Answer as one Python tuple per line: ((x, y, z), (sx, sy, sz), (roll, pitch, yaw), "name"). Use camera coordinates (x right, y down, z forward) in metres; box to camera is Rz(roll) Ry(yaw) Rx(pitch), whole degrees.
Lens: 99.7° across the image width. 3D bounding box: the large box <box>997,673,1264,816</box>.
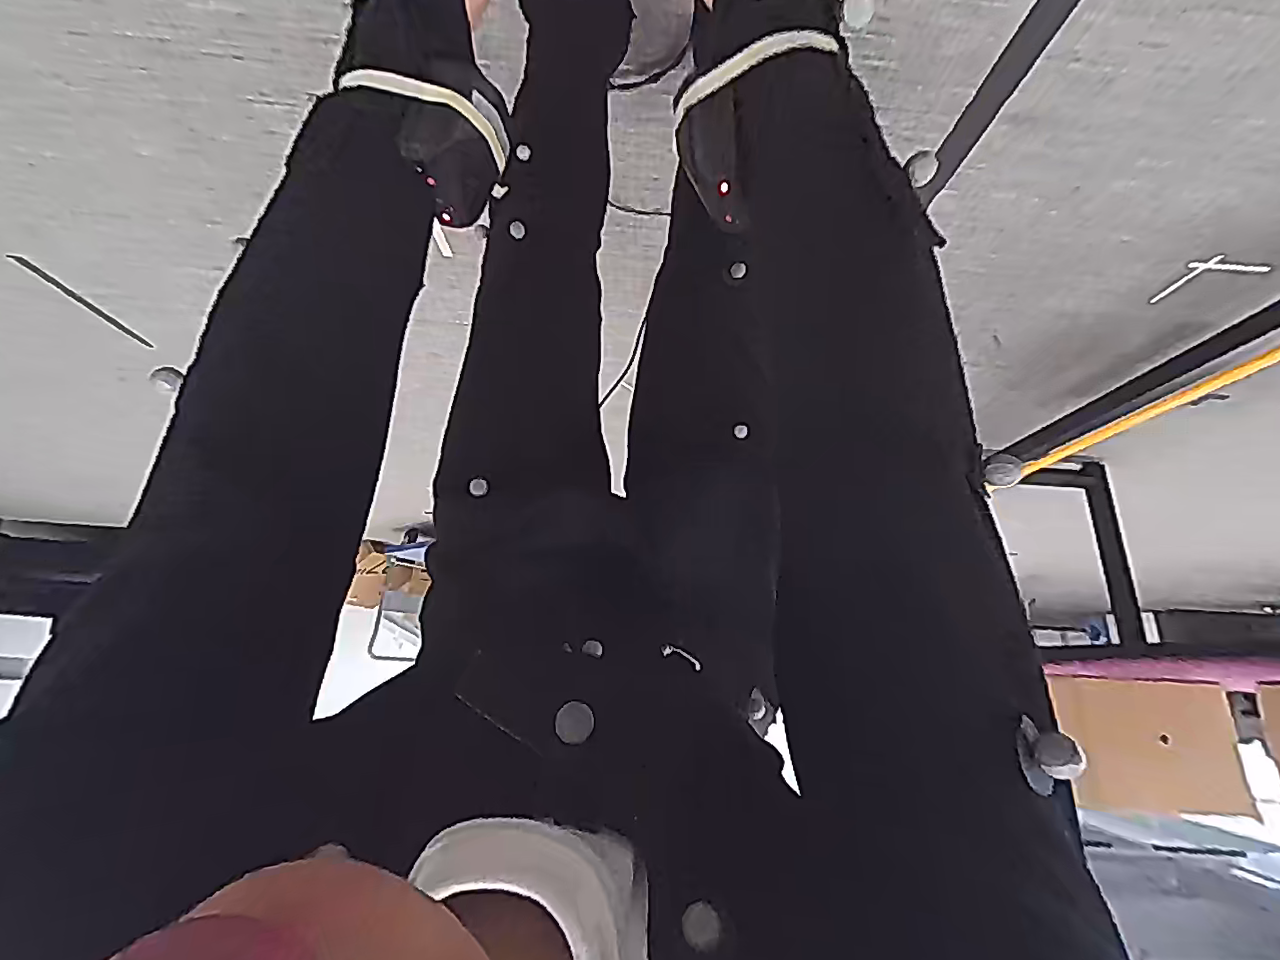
((1.287, 0.697, 1.470), (0.408, 0.320, 0.320), (3, 162, -1), "large box")
